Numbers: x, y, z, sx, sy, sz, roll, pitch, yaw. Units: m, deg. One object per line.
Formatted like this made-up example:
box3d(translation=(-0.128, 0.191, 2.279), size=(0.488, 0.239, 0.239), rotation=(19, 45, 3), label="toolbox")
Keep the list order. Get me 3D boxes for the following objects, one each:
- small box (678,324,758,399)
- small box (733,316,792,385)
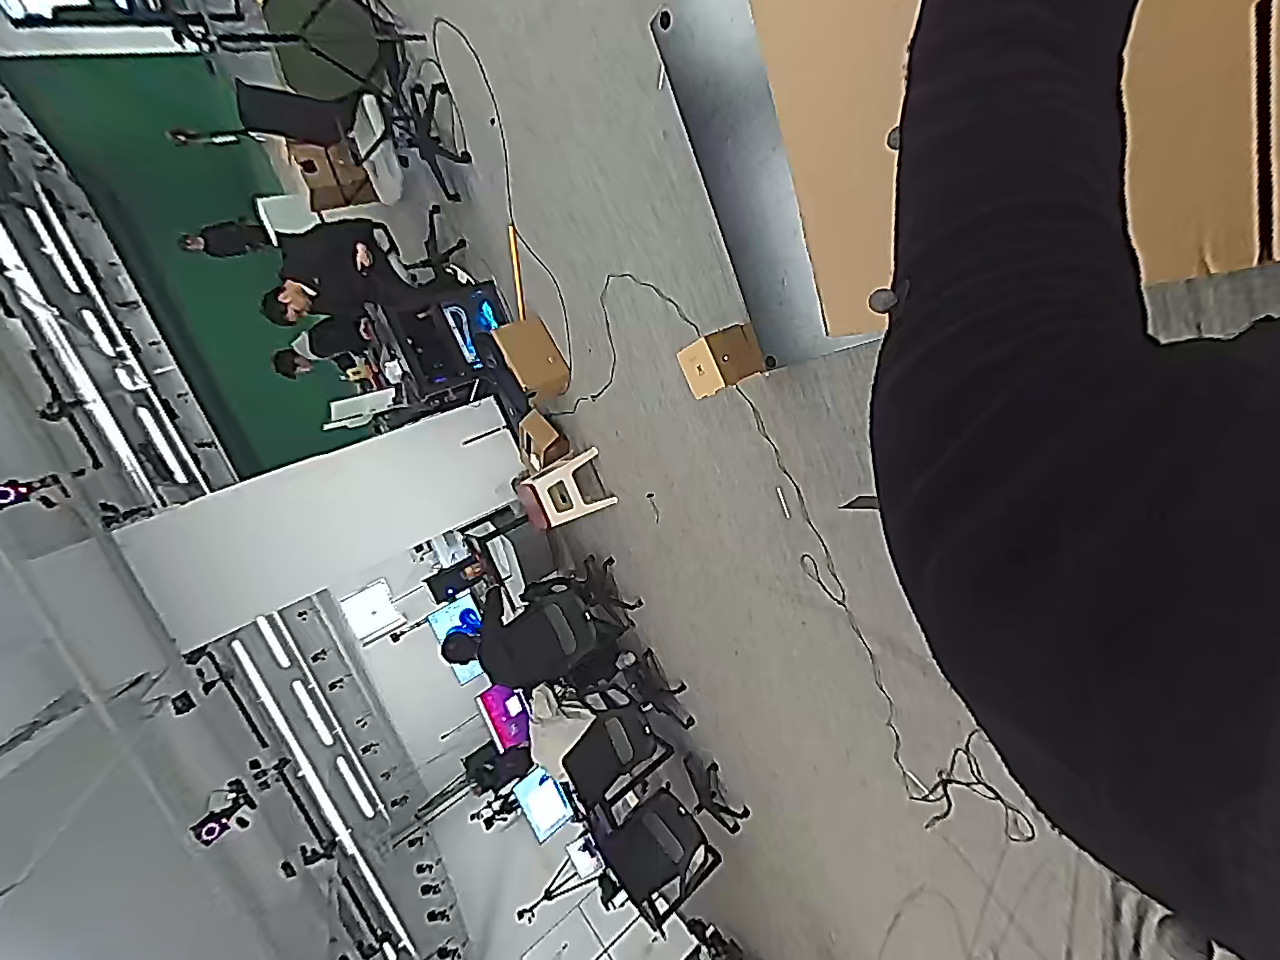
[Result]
box3d(translation=(0.264, -0.394, 1.801), size=(0.168, 0.176, 0.179), rotation=(-17, 98, 60), label="small box")
box3d(translation=(0.394, -0.454, 1.880), size=(0.168, 0.176, 0.179), rotation=(-12, 104, 60), label="small box")
